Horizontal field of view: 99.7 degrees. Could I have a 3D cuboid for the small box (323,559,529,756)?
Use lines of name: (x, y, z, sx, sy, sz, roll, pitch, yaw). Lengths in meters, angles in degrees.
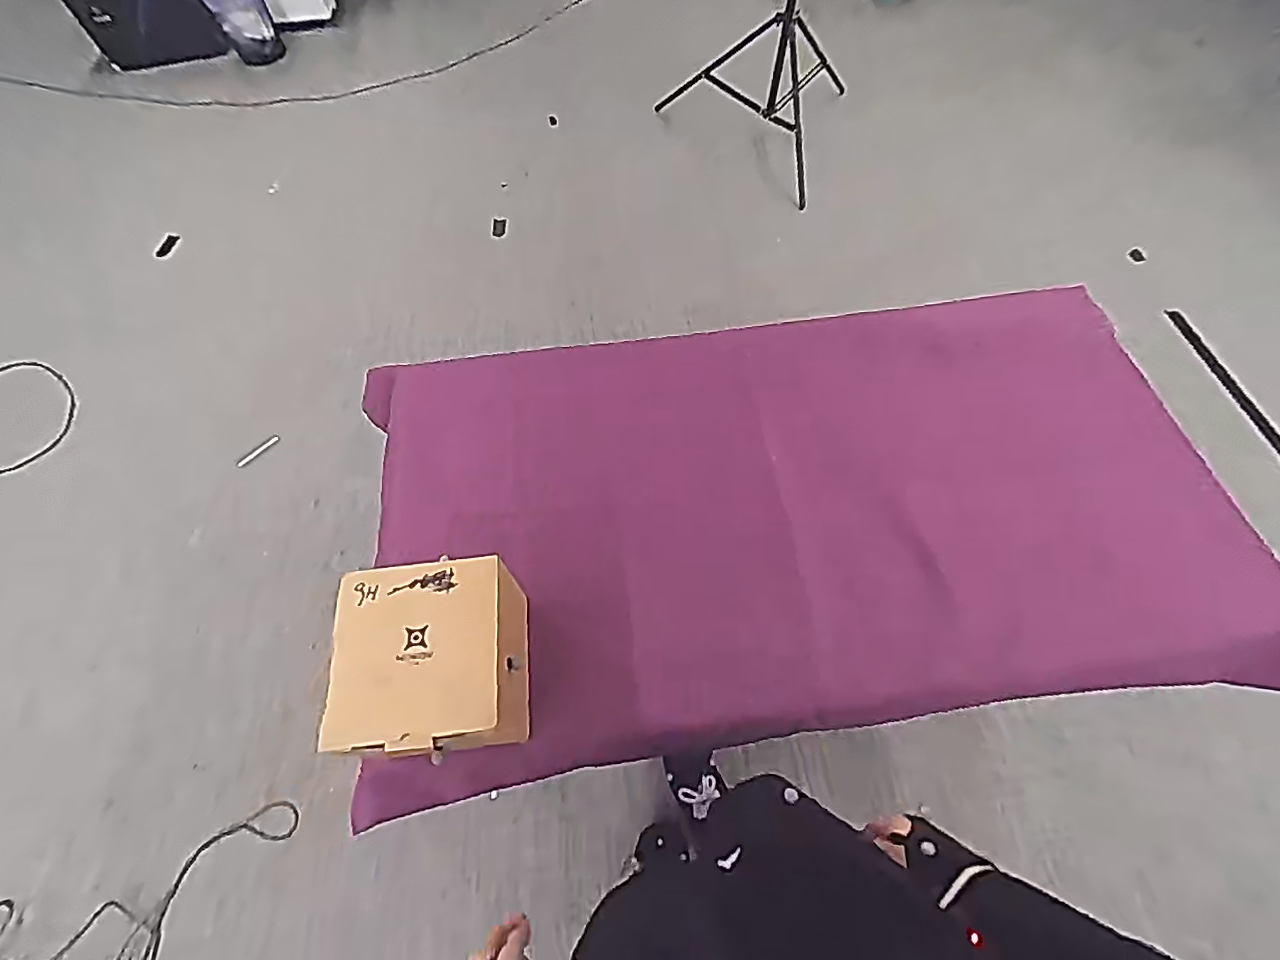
small box: (-0.222, 0.205, 0.611, 0.168, 0.176, 0.179, -6, 63, -3)
